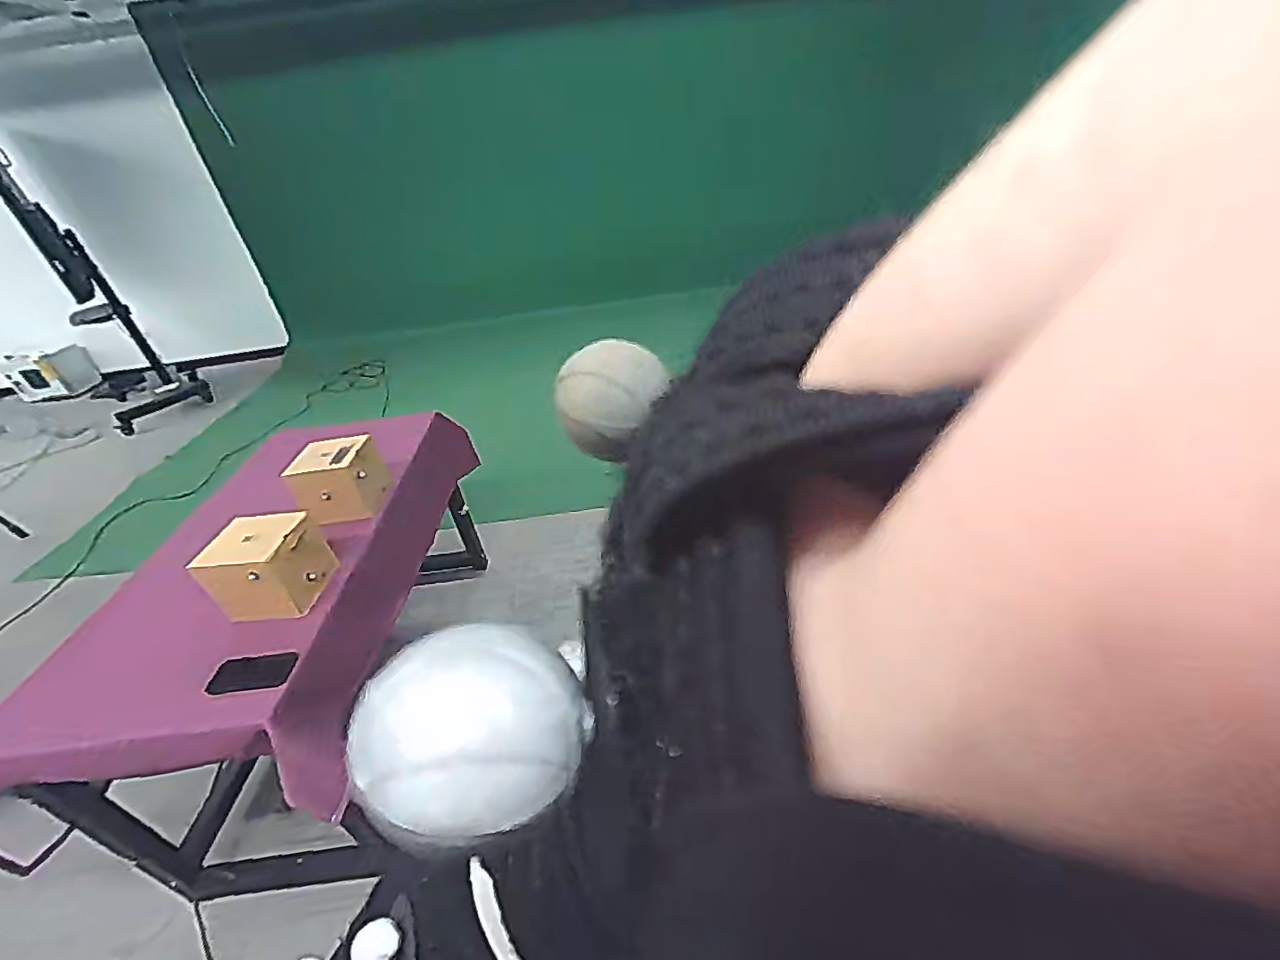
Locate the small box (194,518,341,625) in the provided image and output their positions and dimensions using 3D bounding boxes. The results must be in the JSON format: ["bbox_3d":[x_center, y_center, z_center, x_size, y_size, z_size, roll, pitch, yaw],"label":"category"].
[{"bbox_3d":[-0.814,0.205,1.203,0.179,0.176,0.168,-5,34,5],"label":"small box"}]
